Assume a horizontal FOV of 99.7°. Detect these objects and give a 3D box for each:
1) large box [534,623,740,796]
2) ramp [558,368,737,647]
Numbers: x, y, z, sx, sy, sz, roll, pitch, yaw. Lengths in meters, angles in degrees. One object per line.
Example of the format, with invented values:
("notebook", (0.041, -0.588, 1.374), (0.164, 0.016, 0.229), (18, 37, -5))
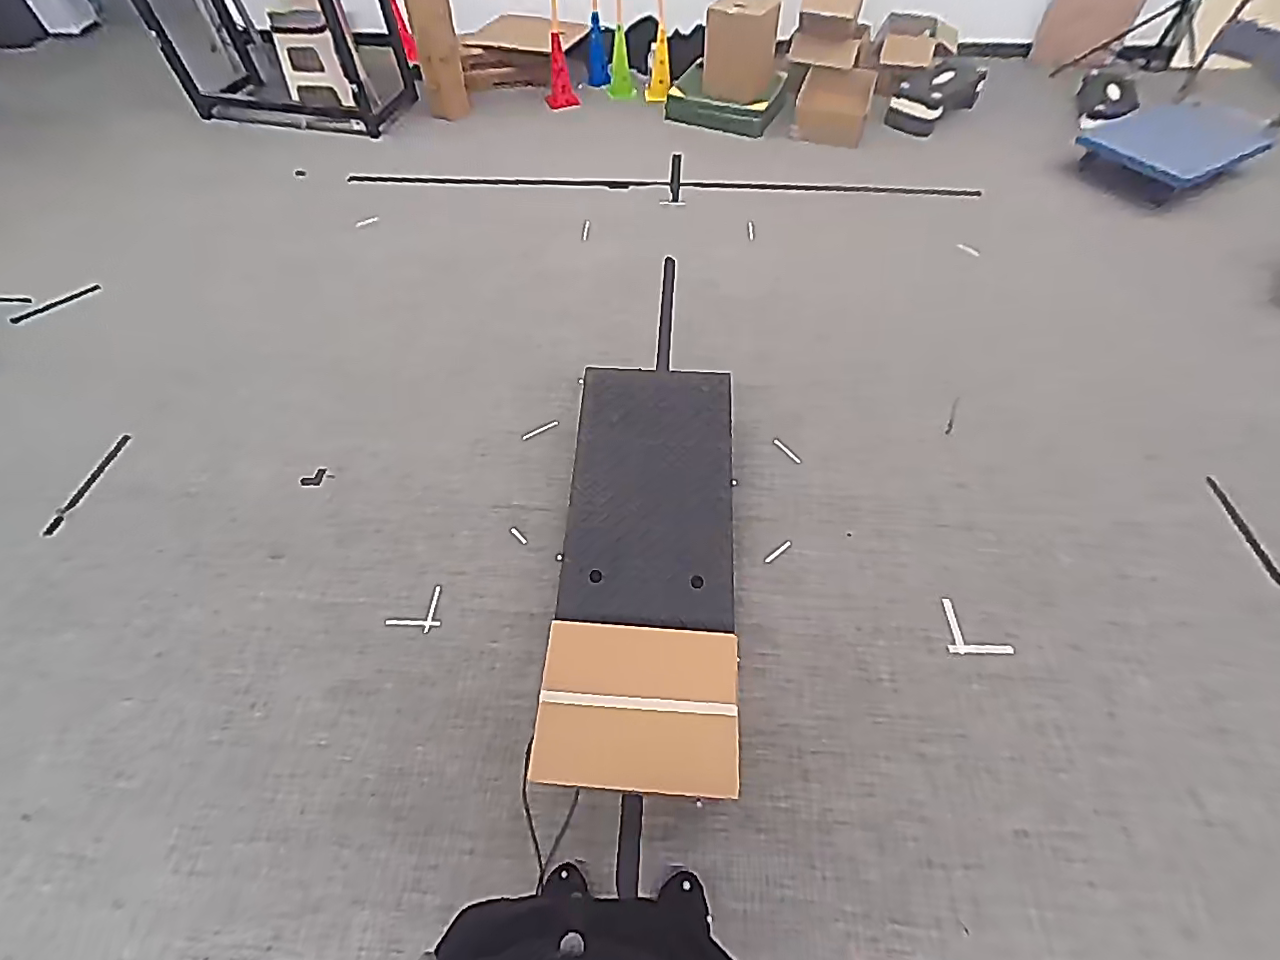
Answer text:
("large box", (0.005, 0.531, 1.236), (0.408, 0.320, 0.320), (3, 59, 3))
("ramp", (0.039, 0.086, 1.622), (0.509, 0.206, 0.991), (2, 56, 0))
